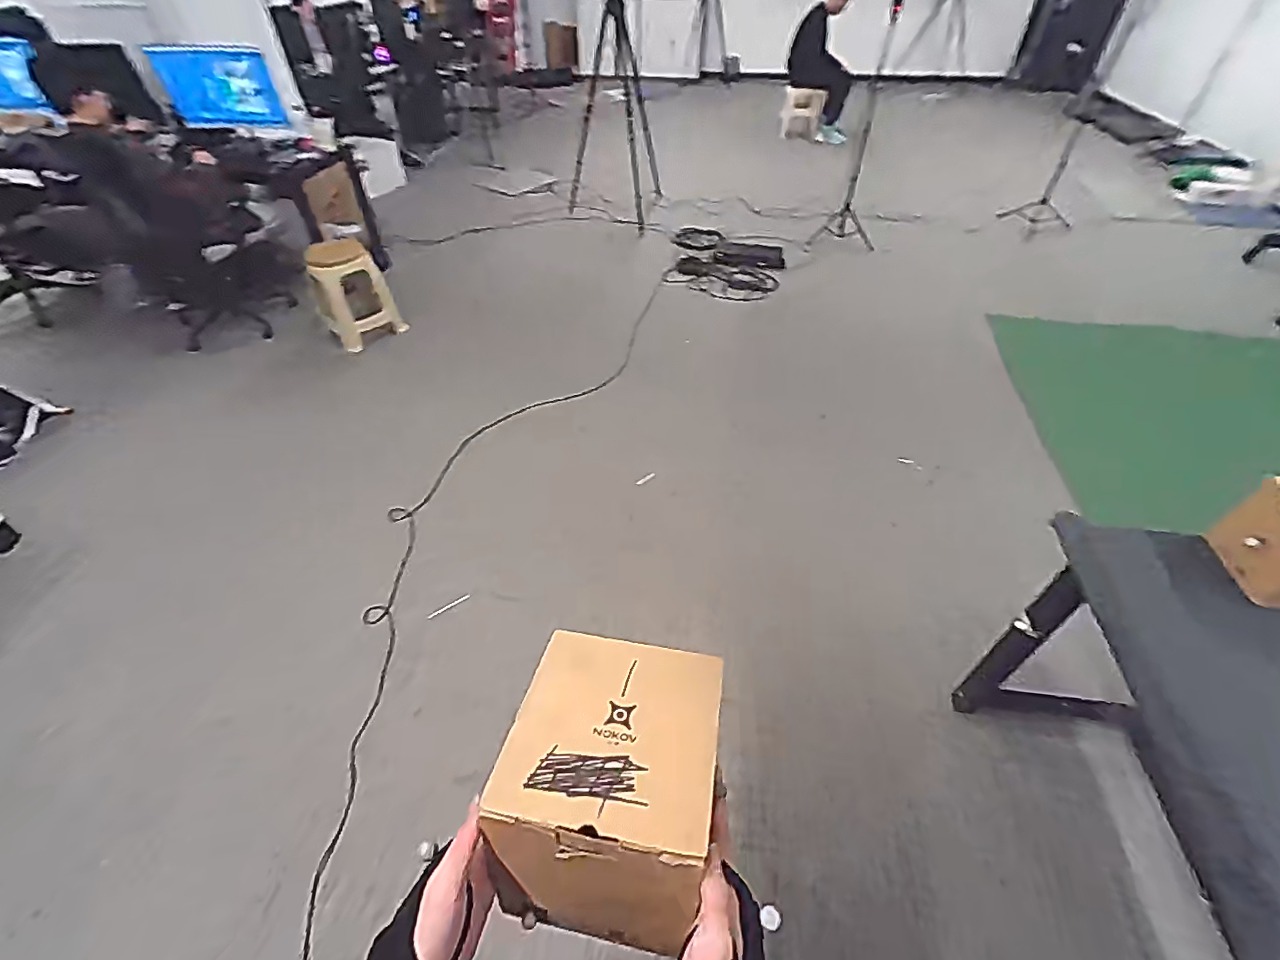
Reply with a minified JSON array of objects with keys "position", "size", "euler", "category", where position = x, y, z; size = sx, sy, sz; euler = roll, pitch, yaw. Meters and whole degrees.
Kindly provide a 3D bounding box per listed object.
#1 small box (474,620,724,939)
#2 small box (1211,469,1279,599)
[{"position":[-0.021,0.257,0.479],"size":[0.168,0.176,0.179],"euler":[8,32,10],"category":"small box"},{"position":[1.165,0.101,0.936],"size":[0.179,0.176,0.168],"euler":[5,48,7],"category":"small box"}]
